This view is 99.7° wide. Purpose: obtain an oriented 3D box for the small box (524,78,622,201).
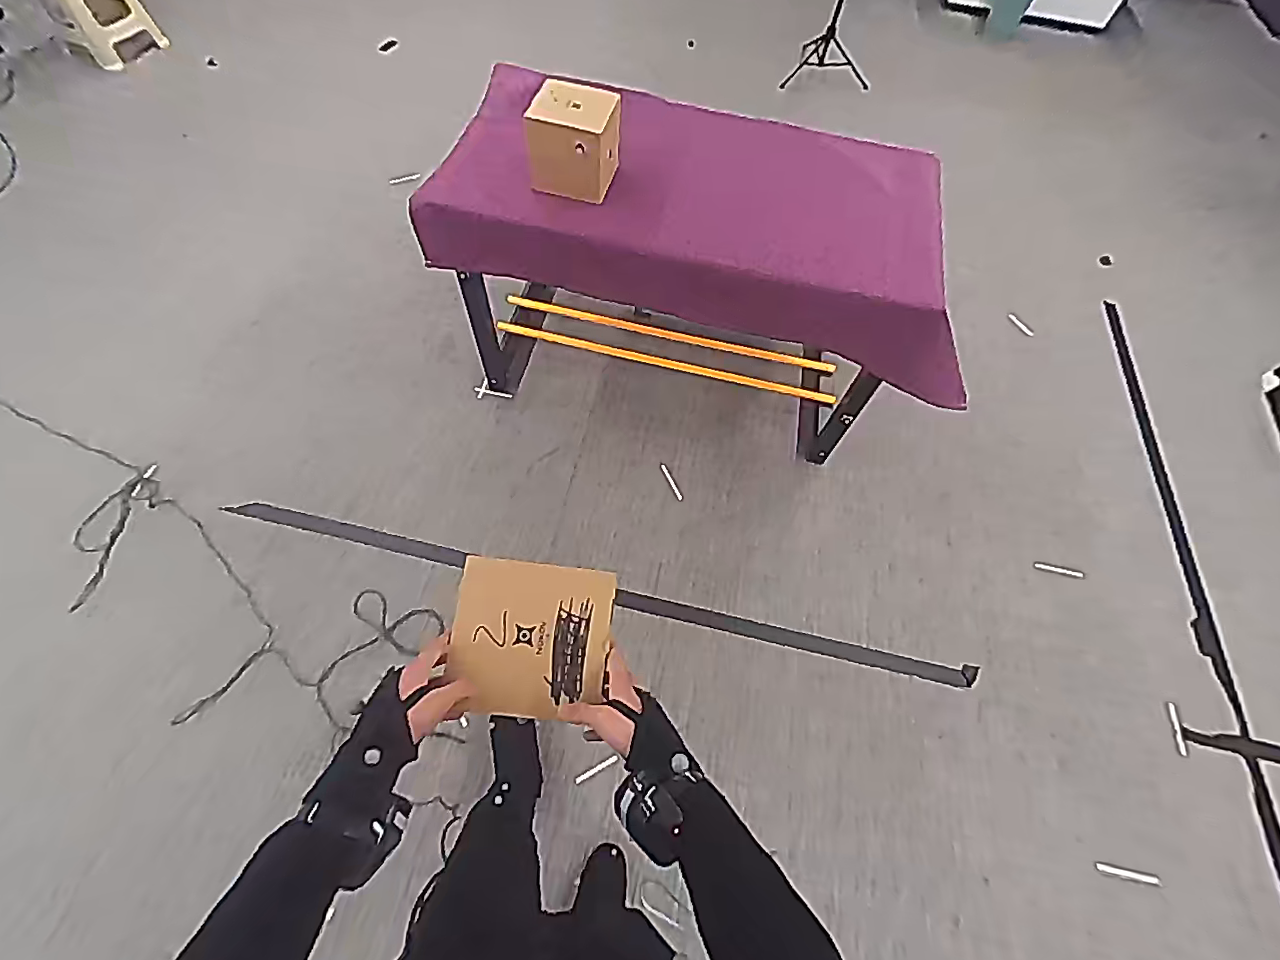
[{"bbox_3d":[-0.149,-0.777,1.247,0.179,0.176,0.168,15,62,3],"label":"small box"}]
